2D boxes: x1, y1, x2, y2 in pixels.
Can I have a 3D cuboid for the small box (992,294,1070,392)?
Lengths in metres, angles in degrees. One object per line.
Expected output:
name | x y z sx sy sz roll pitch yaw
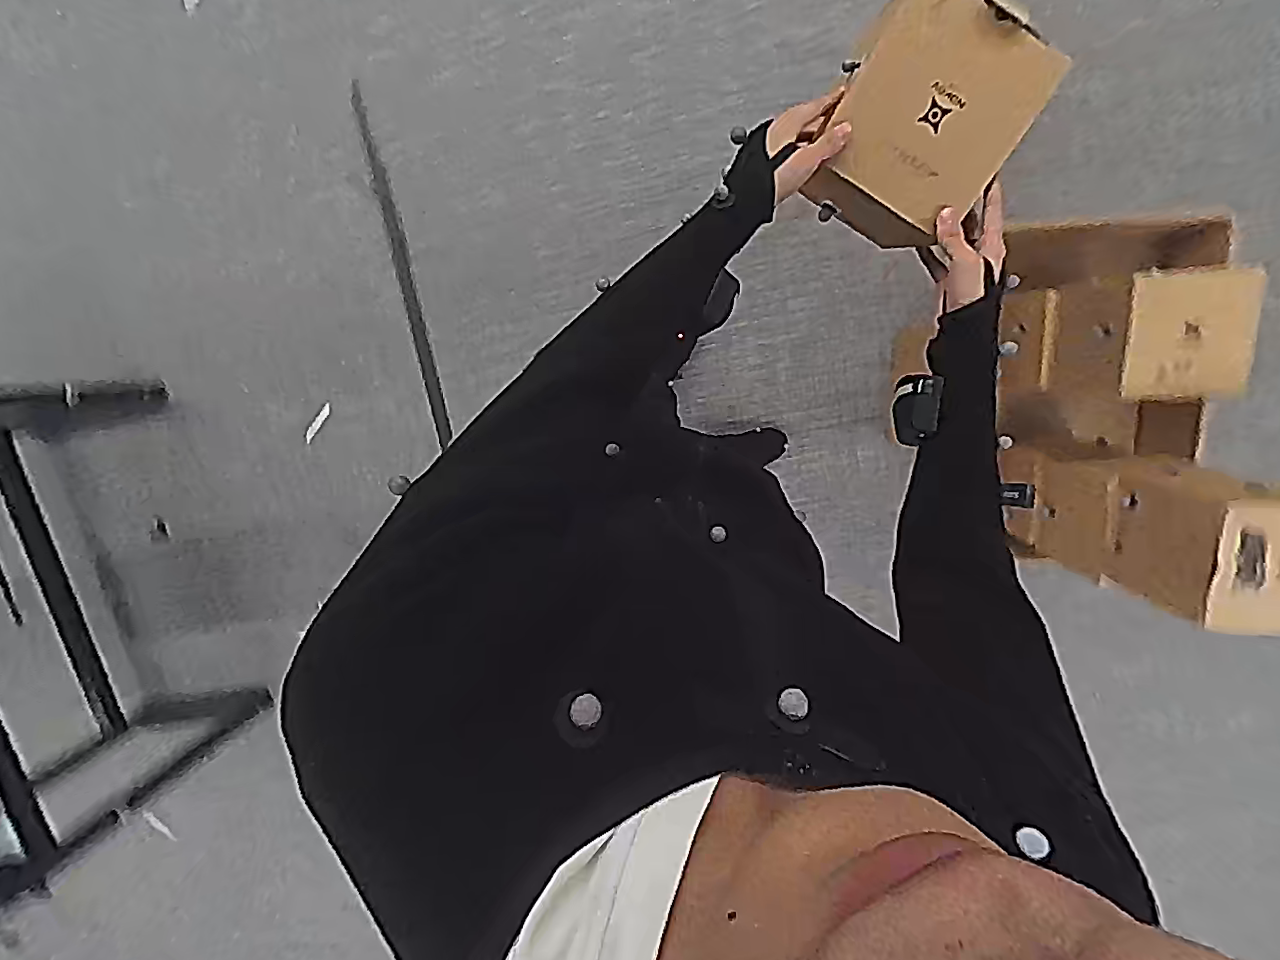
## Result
small box | 0.785 -0.250 0.997 0.179 0.176 0.168 -2 103 6

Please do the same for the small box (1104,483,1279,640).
small box | 0.787 0.102 0.731 0.179 0.176 0.168 1 102 5

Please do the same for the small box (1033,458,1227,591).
small box | 0.788 0.068 0.893 0.168 0.176 0.179 -3 103 6

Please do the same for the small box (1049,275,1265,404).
small box | 0.778 -0.211 0.837 0.168 0.176 0.179 0 103 6
